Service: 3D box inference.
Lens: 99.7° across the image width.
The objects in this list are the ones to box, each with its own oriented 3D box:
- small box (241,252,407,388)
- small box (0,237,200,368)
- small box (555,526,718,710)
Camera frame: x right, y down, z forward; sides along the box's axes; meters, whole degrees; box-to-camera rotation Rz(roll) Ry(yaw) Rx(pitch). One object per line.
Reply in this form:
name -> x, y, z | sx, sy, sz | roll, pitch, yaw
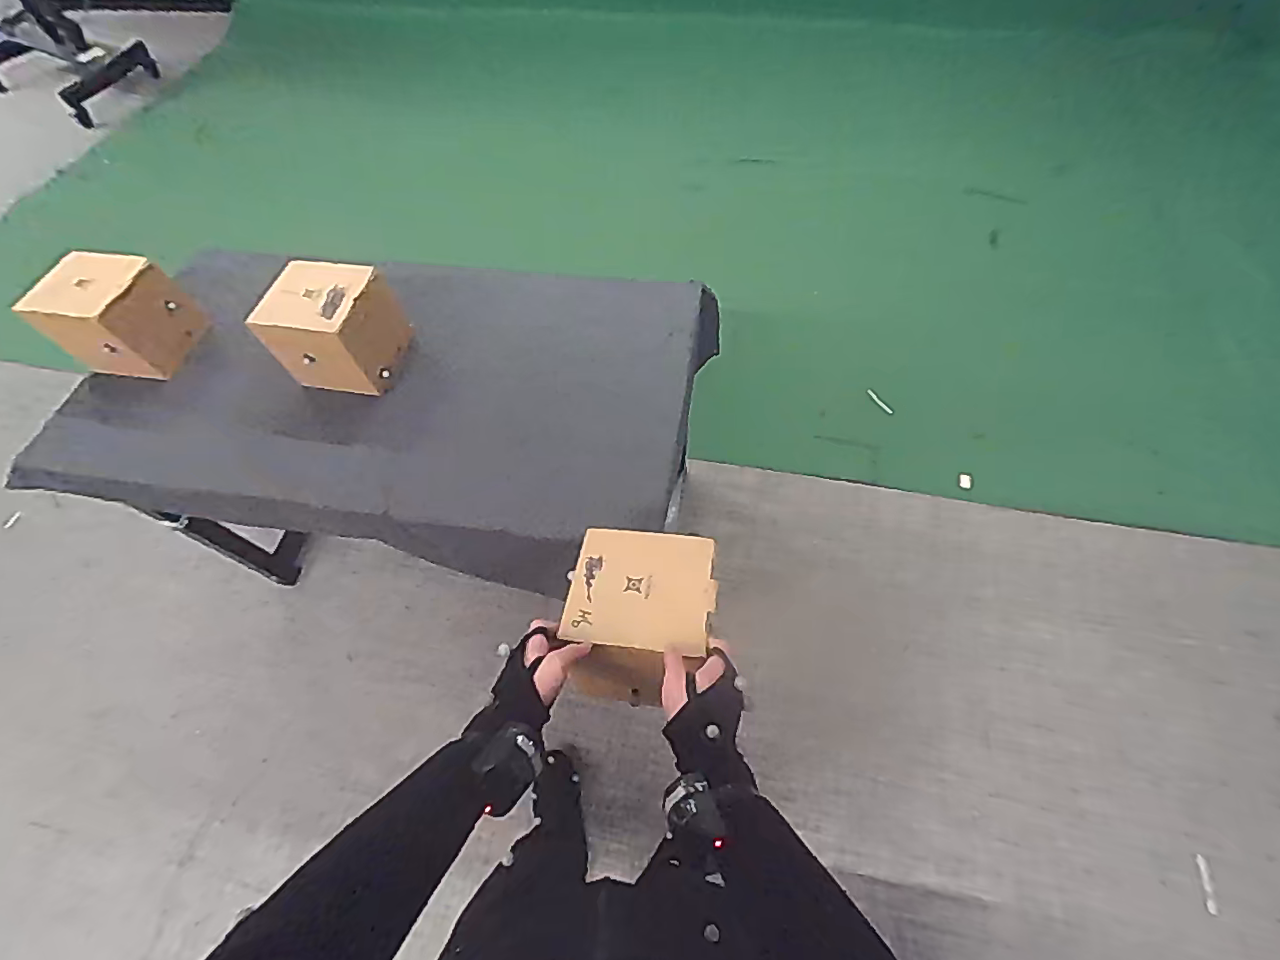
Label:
small box -> -0.565, -0.290, 0.999 | 0.179, 0.176, 0.168 | 9, 60, 8
small box -> -1.014, -0.334, 1.036 | 0.179, 0.176, 0.168 | 7, 59, 6
small box -> 0.002, 0.185, 0.713 | 0.179, 0.176, 0.168 | 6, 47, 7
